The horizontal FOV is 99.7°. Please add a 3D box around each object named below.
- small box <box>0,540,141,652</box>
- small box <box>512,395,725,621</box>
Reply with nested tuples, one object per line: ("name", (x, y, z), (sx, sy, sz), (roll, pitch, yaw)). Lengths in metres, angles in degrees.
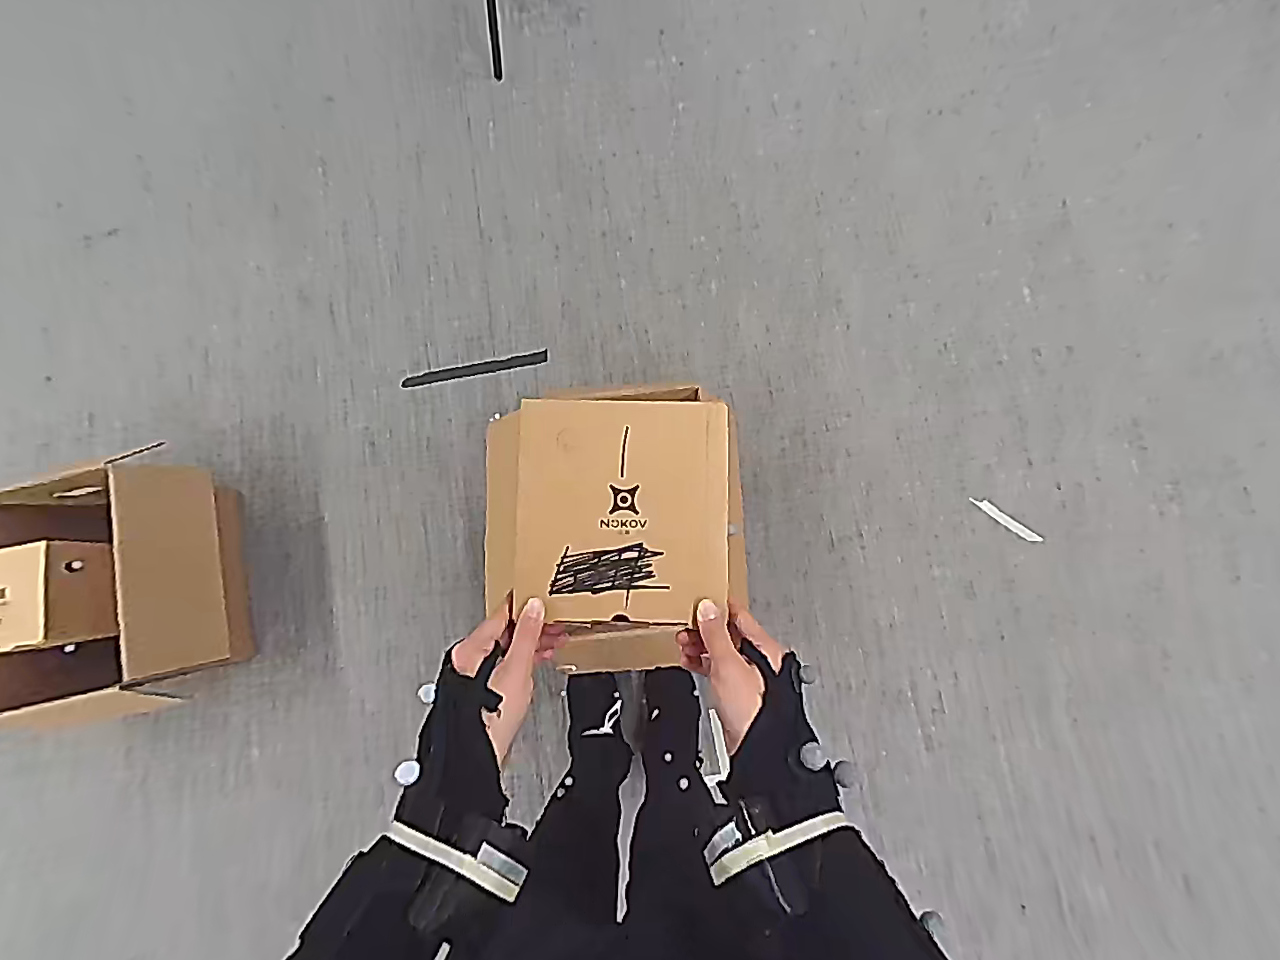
("small box", (-1.084, 0.217, 1.007), (0.168, 0.176, 0.179), (-11, 80, 2))
("small box", (-0.014, 0.028, 0.502), (0.168, 0.176, 0.179), (1, 83, 0))
